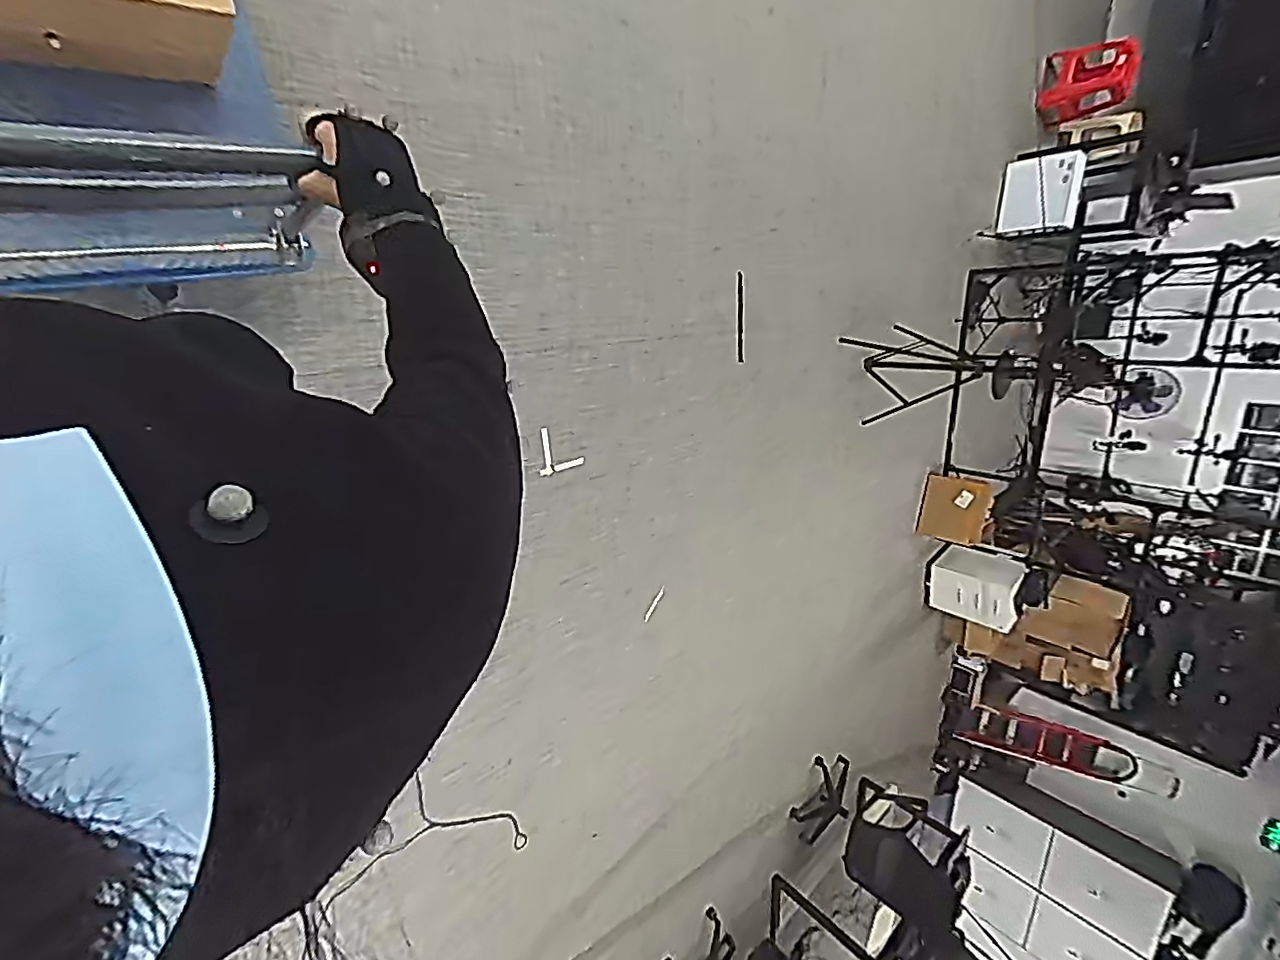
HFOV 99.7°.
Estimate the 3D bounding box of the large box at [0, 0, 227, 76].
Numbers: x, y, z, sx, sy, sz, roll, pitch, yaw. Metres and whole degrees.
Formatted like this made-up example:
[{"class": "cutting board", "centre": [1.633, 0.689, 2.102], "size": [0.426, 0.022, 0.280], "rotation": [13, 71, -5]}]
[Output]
[{"class": "large box", "centre": [-0.832, -0.764, 0.690], "size": [0.408, 0.320, 0.320], "rotation": [-21, 115, -36]}]
